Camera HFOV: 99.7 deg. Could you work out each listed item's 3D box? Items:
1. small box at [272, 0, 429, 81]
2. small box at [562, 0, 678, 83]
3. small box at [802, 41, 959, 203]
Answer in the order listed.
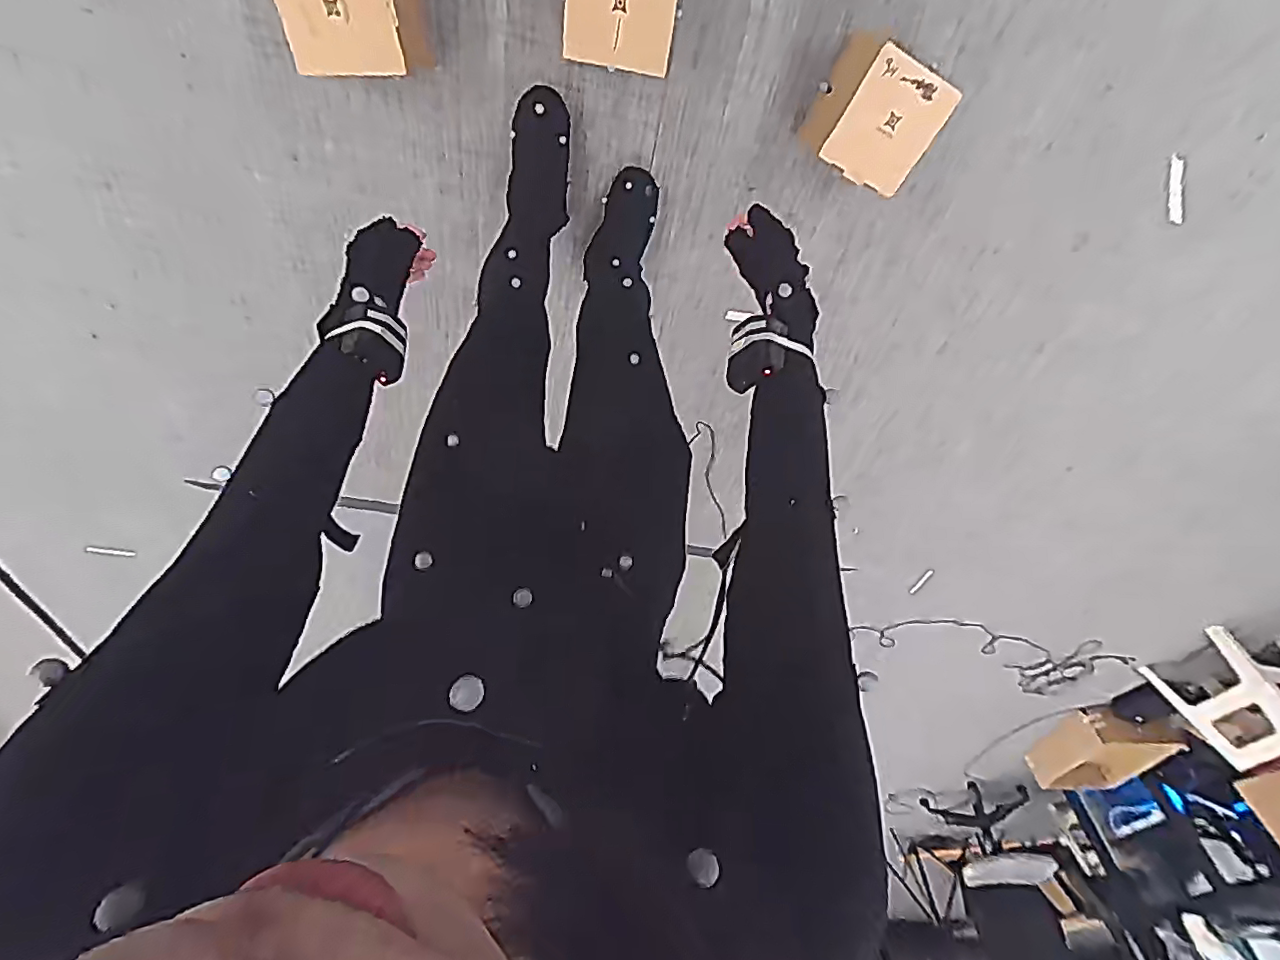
[{"bbox_3d":[-0.452,-0.745,0.859,0.179,0.176,0.168,0,130,1],"label":"small box"},{"bbox_3d":[-0.029,-0.756,0.849,0.168,0.176,0.179,7,133,-7],"label":"small box"},{"bbox_3d":[0.411,-0.638,0.963,0.168,0.176,0.179,19,130,-17],"label":"small box"}]
